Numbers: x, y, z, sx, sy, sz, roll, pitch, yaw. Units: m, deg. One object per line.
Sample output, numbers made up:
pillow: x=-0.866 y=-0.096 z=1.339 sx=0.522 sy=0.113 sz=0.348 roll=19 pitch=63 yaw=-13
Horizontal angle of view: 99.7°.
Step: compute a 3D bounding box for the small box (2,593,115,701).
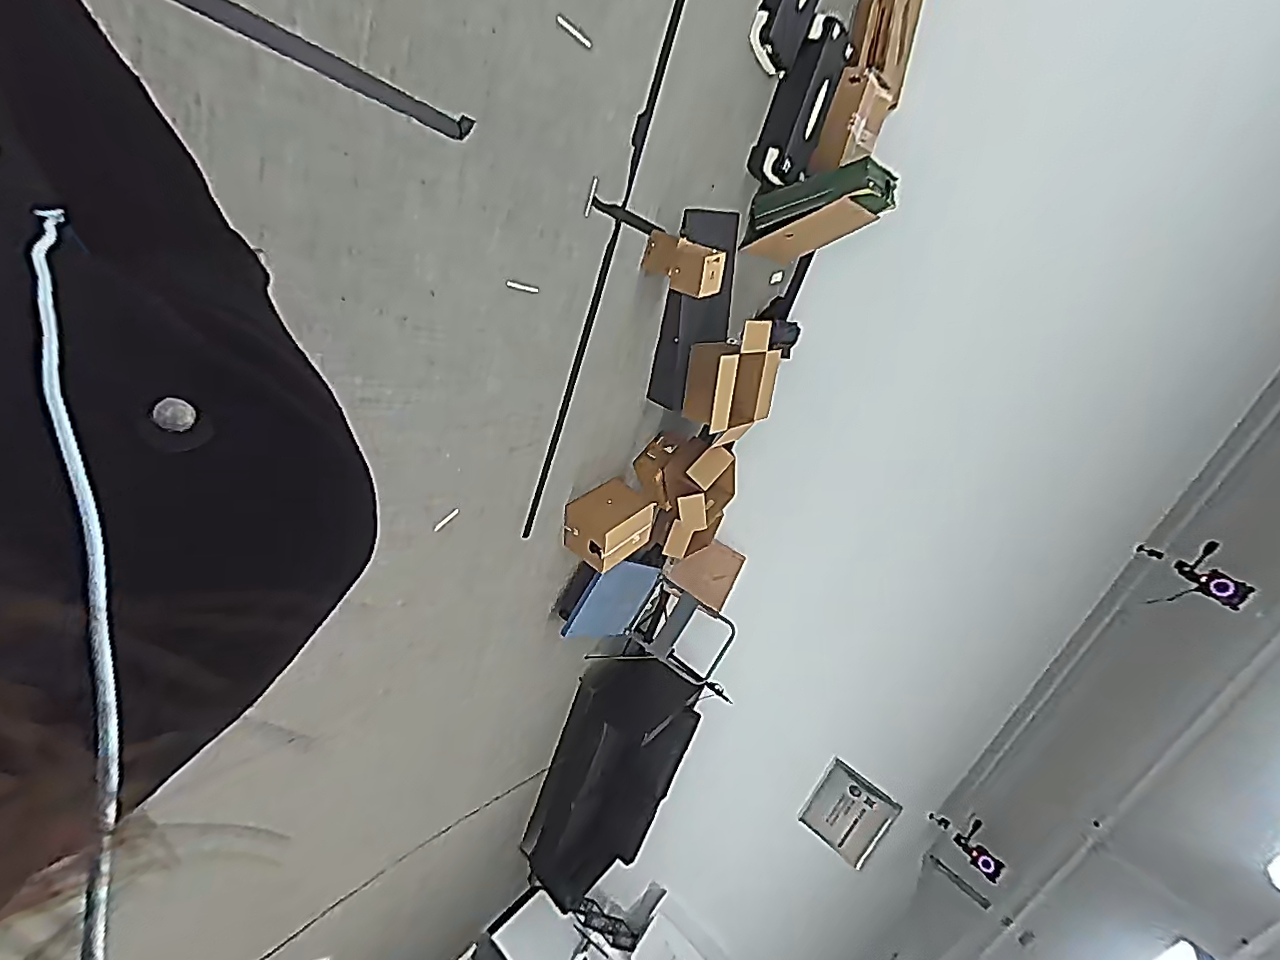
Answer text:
small box: x=-1.457 y=0.405 z=1.355 sx=0.168 sy=0.176 sz=0.179 roll=-9 pitch=126 yaw=-56
